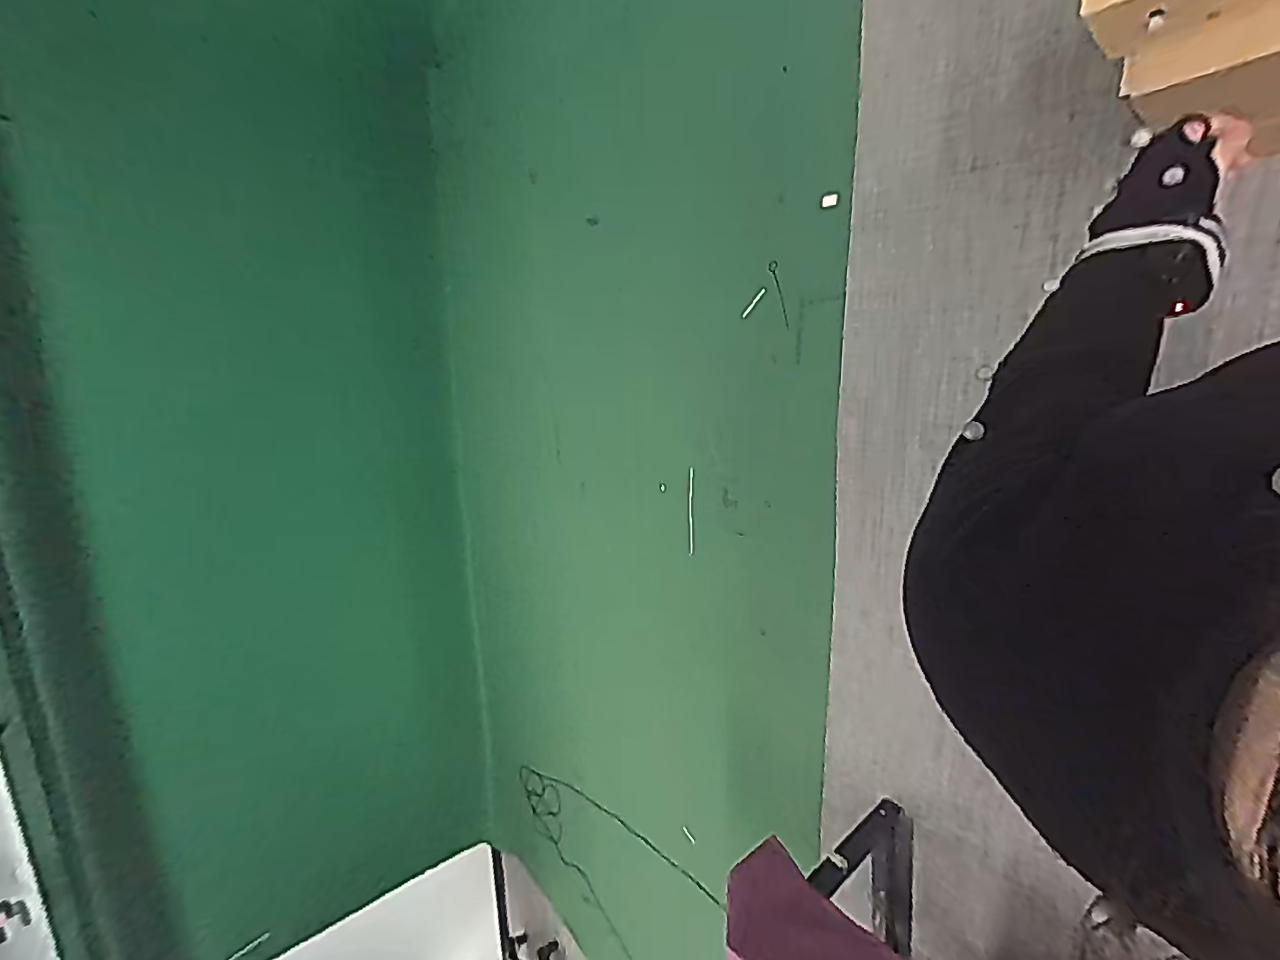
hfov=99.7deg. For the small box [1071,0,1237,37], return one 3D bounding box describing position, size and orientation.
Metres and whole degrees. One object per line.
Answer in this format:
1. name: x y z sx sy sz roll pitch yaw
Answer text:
1. small box: 0.638 -0.662 0.630 0.168 0.176 0.179 13 110 48
